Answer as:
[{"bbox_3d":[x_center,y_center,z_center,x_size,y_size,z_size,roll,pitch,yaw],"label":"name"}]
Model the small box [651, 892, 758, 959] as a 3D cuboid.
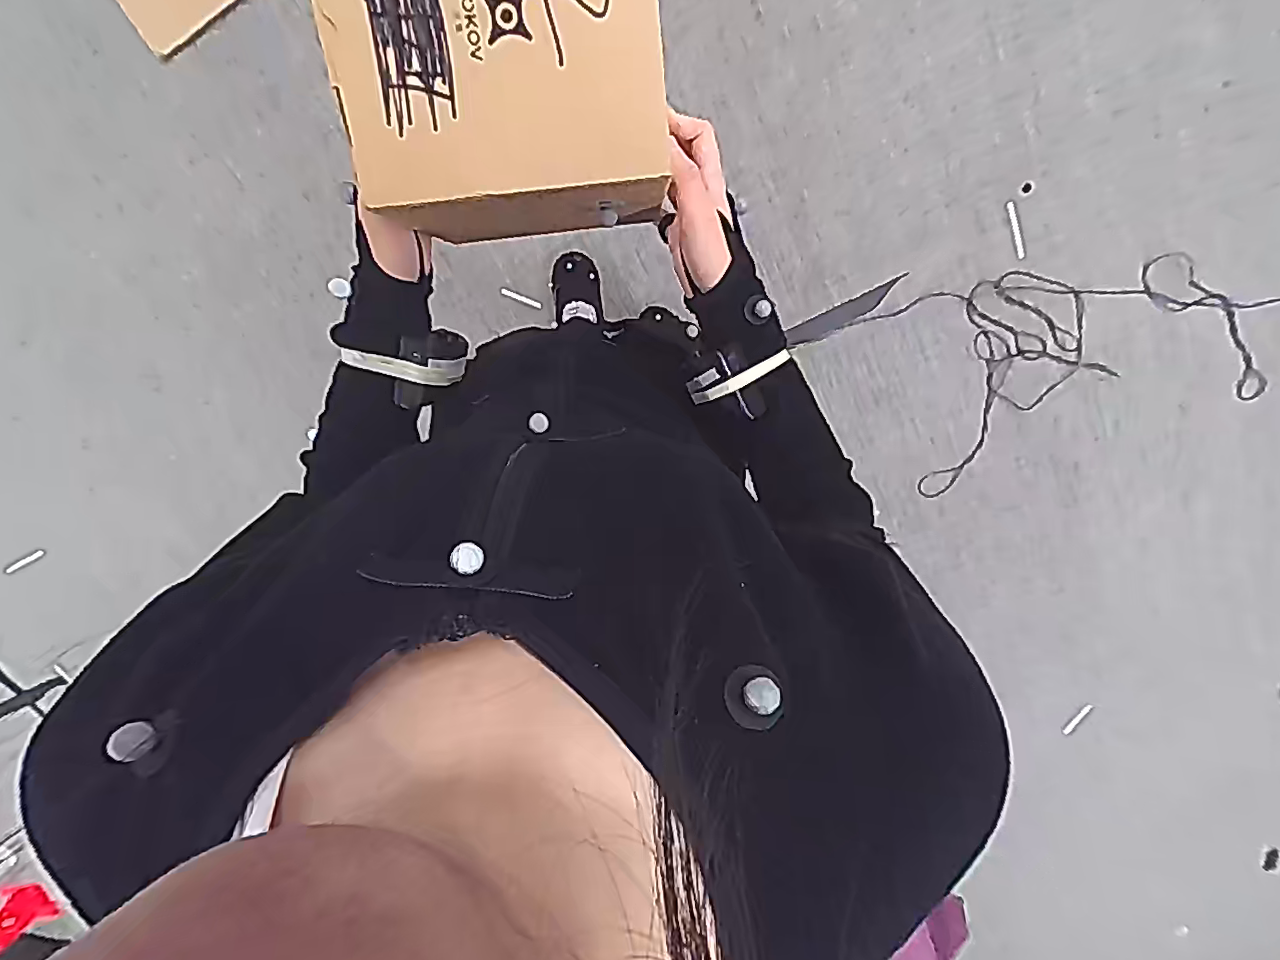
[{"bbox_3d":[0.125,0.921,1.008,0.179,0.176,0.168,-22,109,8],"label":"small box"}]
